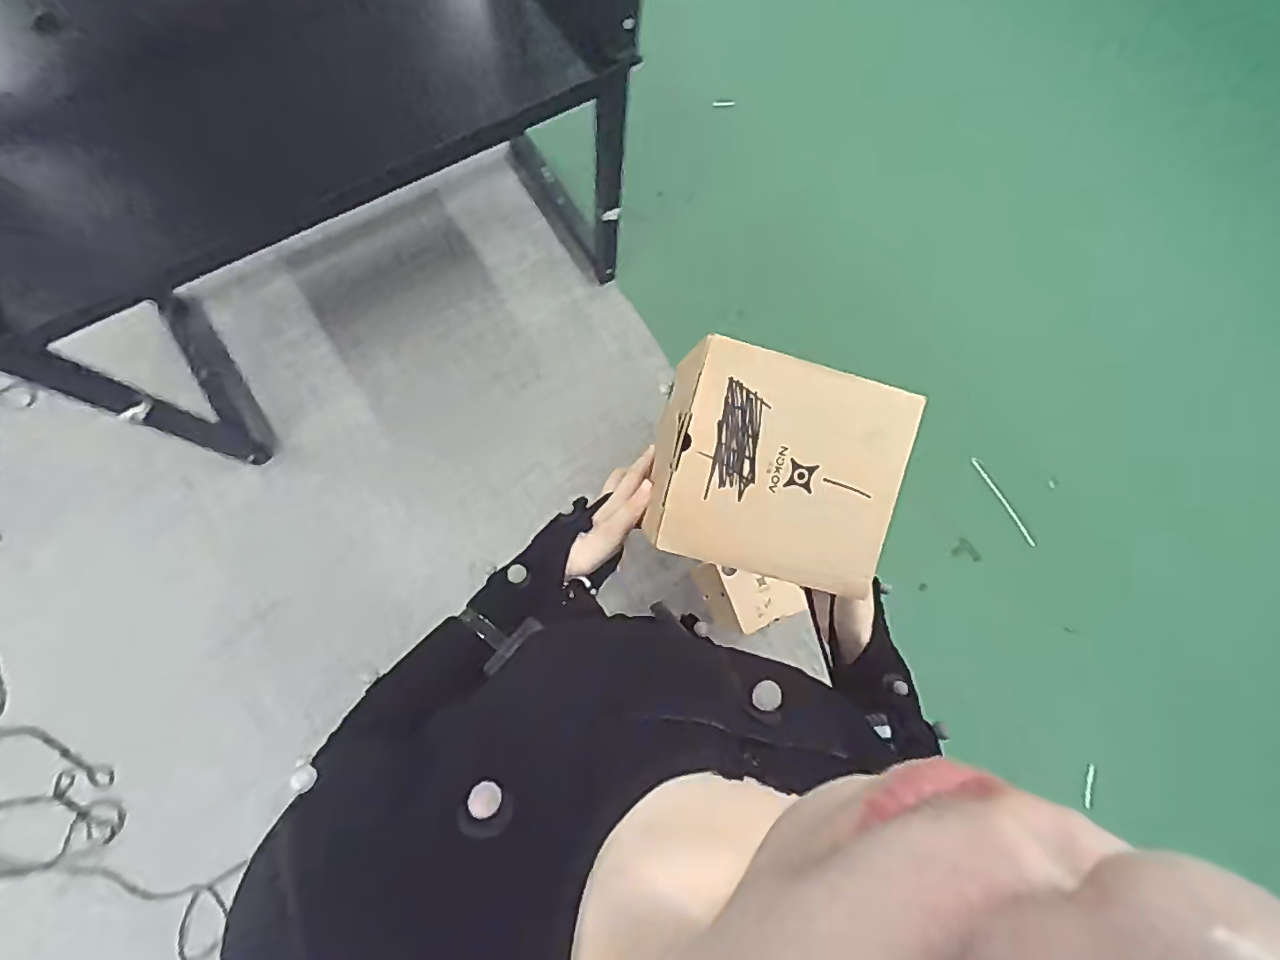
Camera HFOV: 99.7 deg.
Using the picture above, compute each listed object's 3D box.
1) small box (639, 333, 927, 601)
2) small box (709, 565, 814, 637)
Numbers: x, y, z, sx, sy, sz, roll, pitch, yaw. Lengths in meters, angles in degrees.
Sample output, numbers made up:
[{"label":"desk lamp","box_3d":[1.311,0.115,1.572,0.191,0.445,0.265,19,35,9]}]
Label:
[{"label":"small box","box_3d":[0.102,-0.012,0.472,0.179,0.176,0.168,13,93,-6]},{"label":"small box","box_3d":[0.277,0.255,1.278,0.168,0.176,0.179,-20,81,-7]}]
